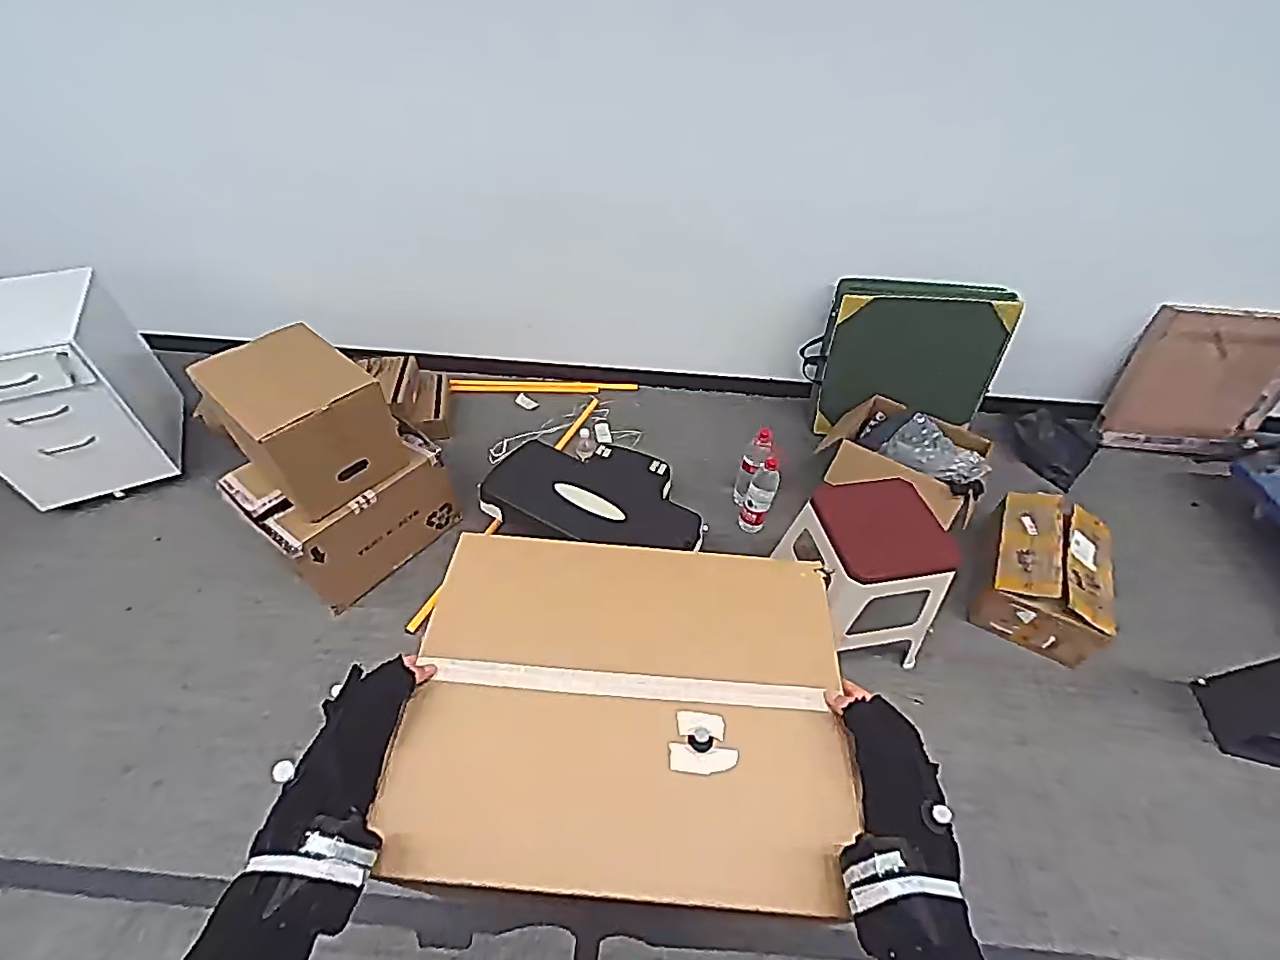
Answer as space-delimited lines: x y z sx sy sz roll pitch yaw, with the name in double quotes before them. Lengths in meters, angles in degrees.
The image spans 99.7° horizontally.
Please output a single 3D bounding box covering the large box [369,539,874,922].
"large box" -0.015 0.294 0.625 0.408 0.320 0.320 5 49 0
